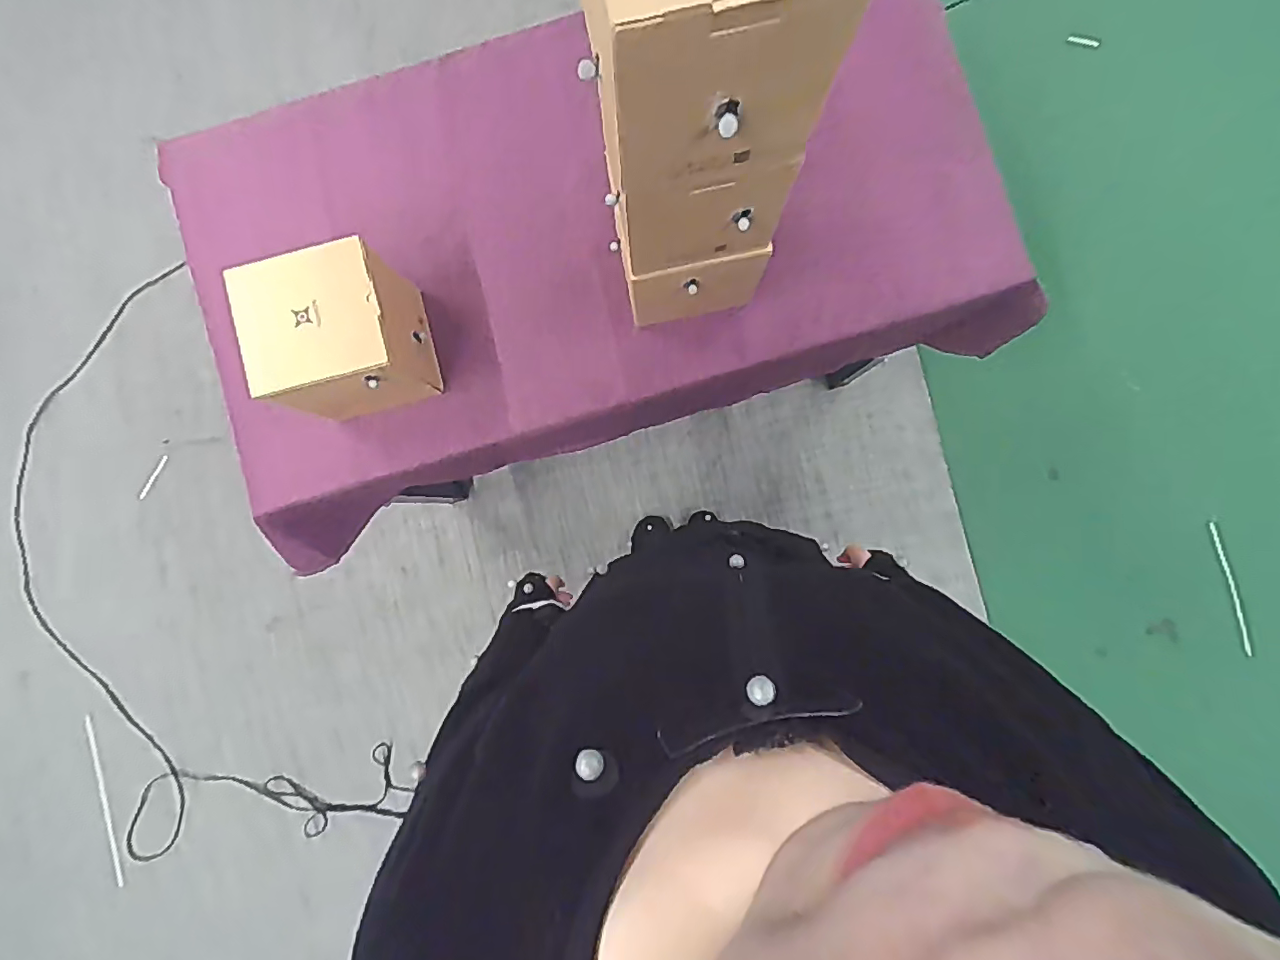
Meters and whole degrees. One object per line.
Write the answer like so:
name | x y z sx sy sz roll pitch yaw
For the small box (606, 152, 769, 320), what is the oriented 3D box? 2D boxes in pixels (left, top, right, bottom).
small box | 0.061 -0.330 0.727 0.179 0.176 0.168 -10 87 2

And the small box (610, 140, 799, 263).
small box | 0.052 -0.348 0.565 0.168 0.176 0.179 -11 86 2

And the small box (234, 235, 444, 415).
small box | -0.398 -0.198 0.742 0.179 0.176 0.168 -15 86 1

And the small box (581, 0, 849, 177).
small box | 0.041 -0.357 0.401 0.168 0.176 0.179 -12 87 1
